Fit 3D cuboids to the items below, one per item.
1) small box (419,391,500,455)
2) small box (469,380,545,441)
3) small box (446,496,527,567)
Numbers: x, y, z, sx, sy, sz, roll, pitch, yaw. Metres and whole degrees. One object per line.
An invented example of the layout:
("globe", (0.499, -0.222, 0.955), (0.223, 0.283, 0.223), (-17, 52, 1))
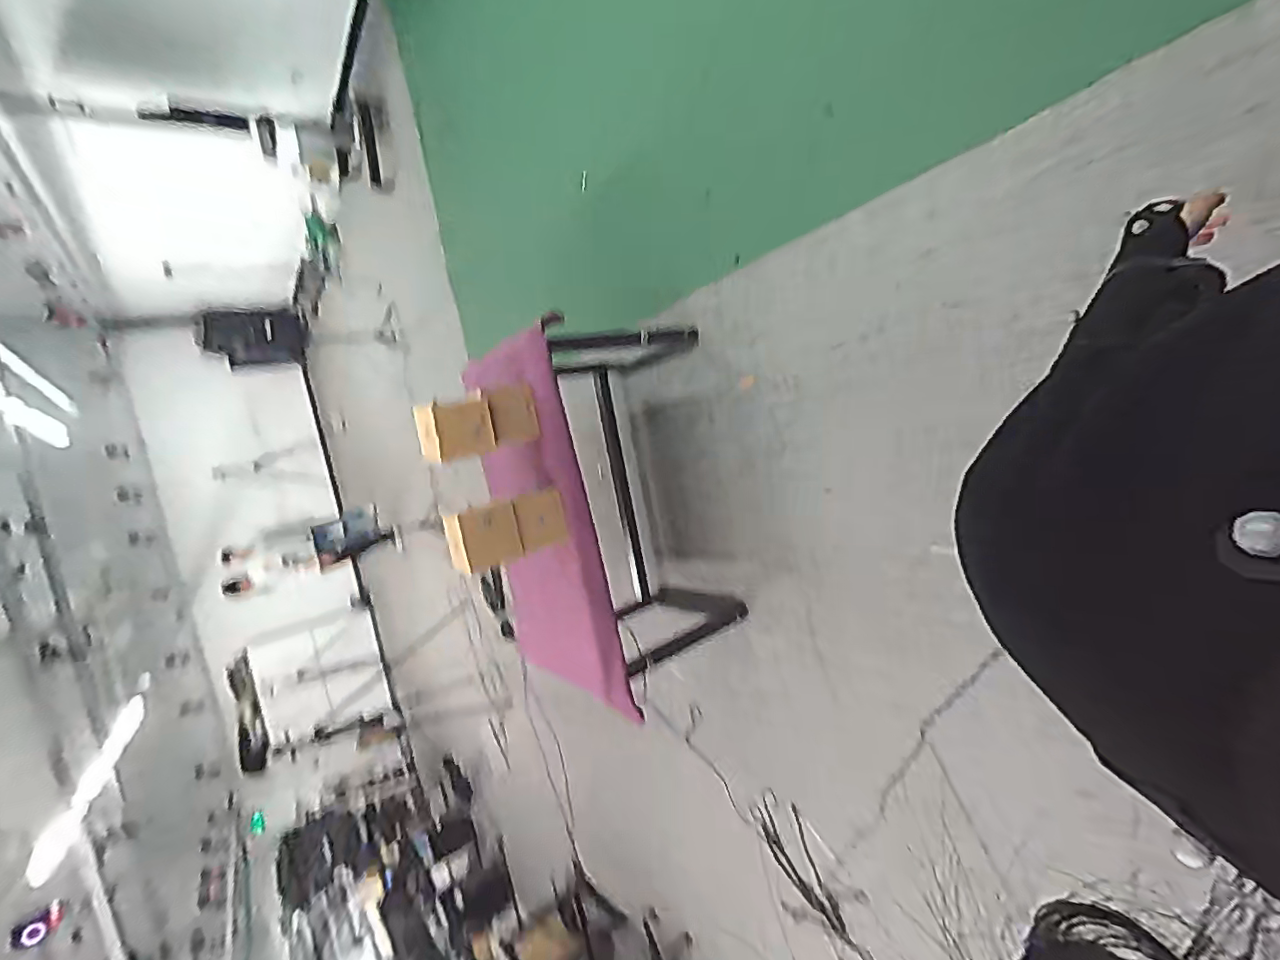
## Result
("small box", (-0.540, -0.172, 1.619), (0.179, 0.176, 0.168), (7, 108, 52))
("small box", (-0.425, -0.219, 1.728), (0.168, 0.176, 0.179), (-6, 97, 55))
("small box", (-0.460, 0.146, 1.622), (0.168, 0.176, 0.179), (-4, 99, 55))
